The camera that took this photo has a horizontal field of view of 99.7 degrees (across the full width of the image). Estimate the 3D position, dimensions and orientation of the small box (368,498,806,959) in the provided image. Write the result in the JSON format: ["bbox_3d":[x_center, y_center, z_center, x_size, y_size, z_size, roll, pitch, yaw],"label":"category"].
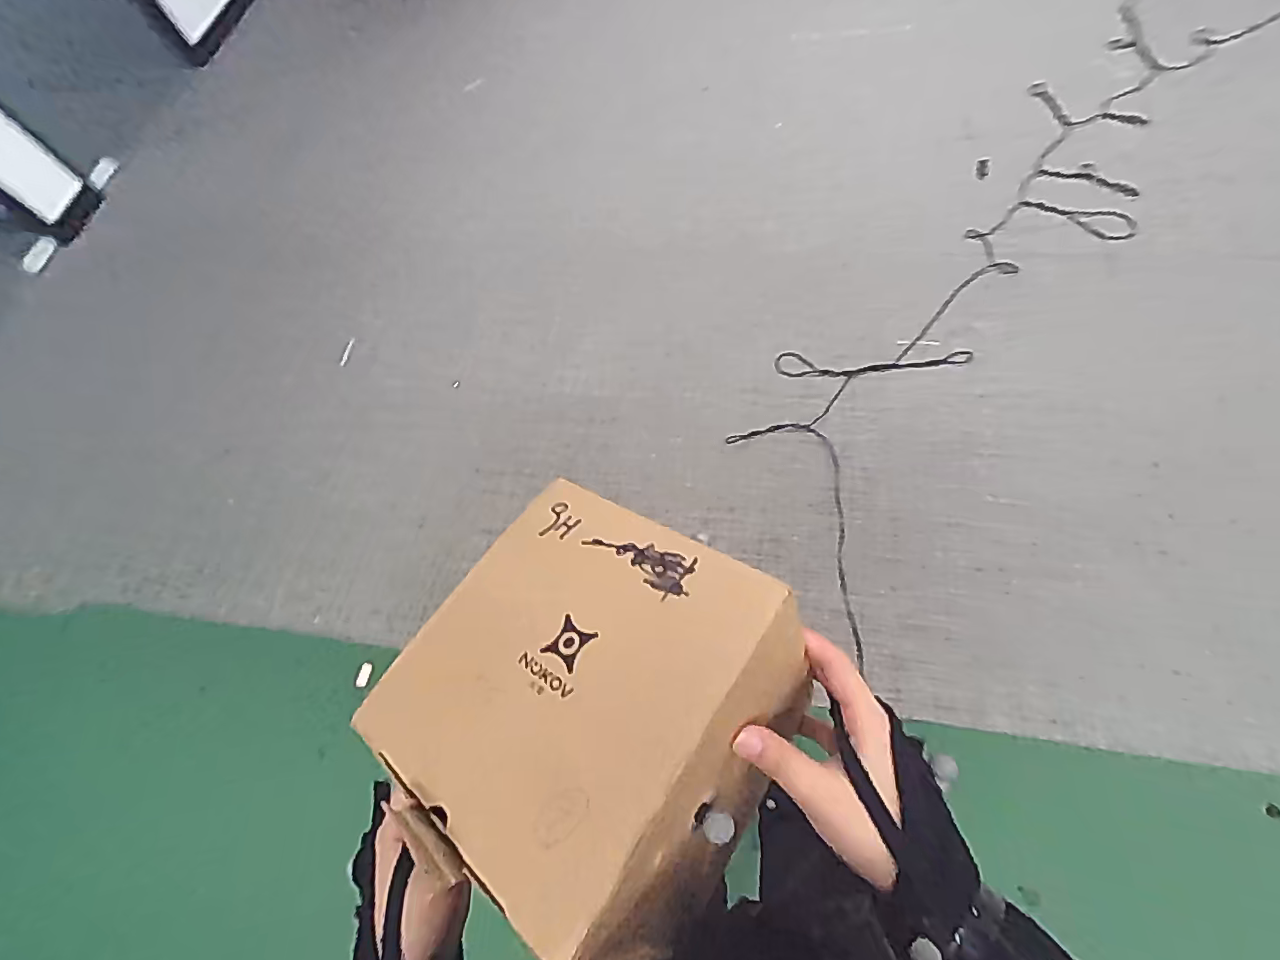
[{"bbox_3d":[-0.012,0.147,0.331,0.168,0.176,0.179,23,65,35],"label":"small box"}]
